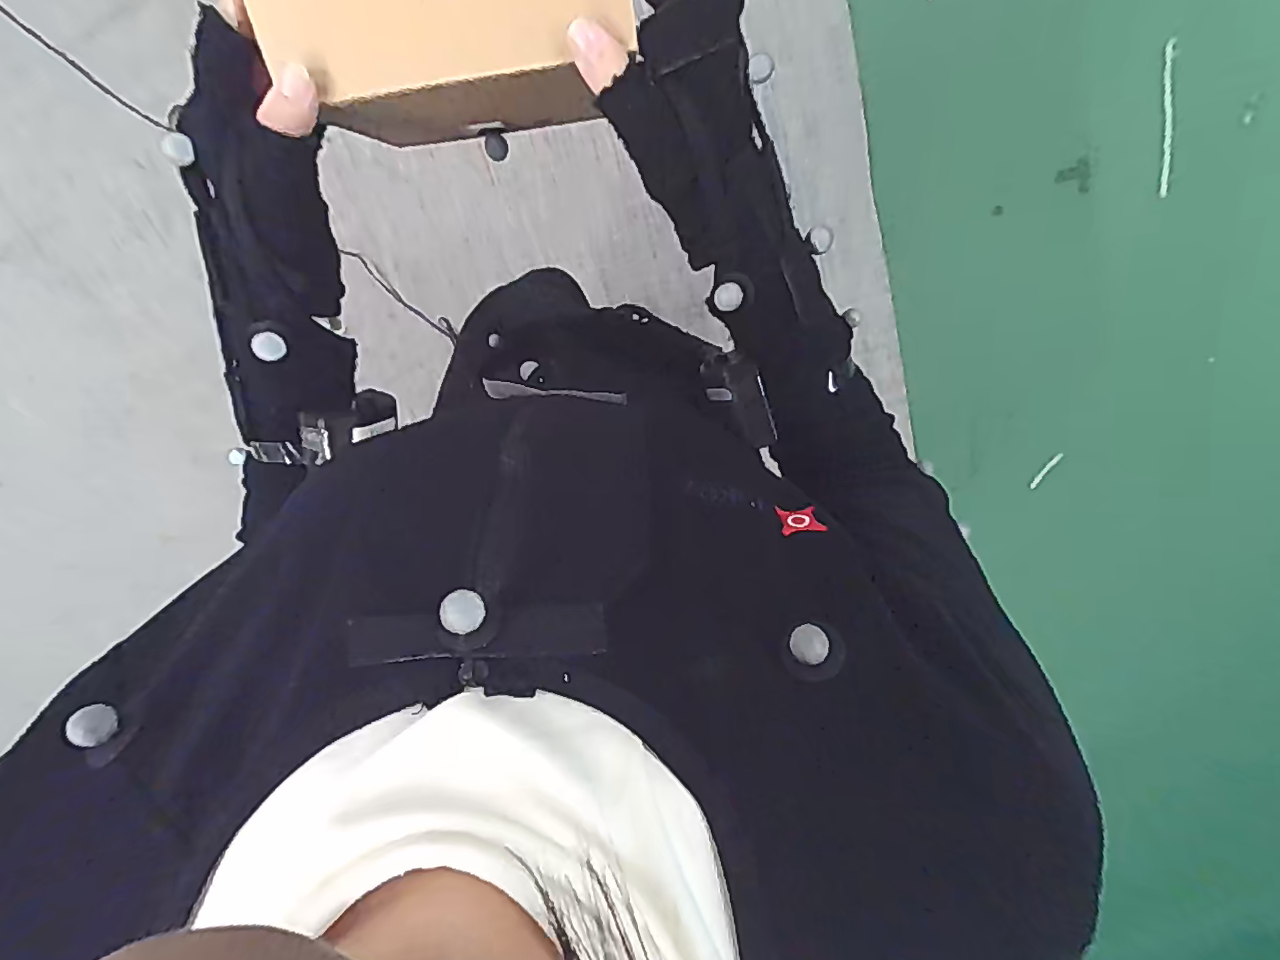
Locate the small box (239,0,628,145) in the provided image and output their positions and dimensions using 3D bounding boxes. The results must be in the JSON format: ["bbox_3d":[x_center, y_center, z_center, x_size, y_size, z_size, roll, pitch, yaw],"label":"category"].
[{"bbox_3d":[-0.101,-0.296,0.281,0.168,0.176,0.179,-8,116,1],"label":"small box"}]
